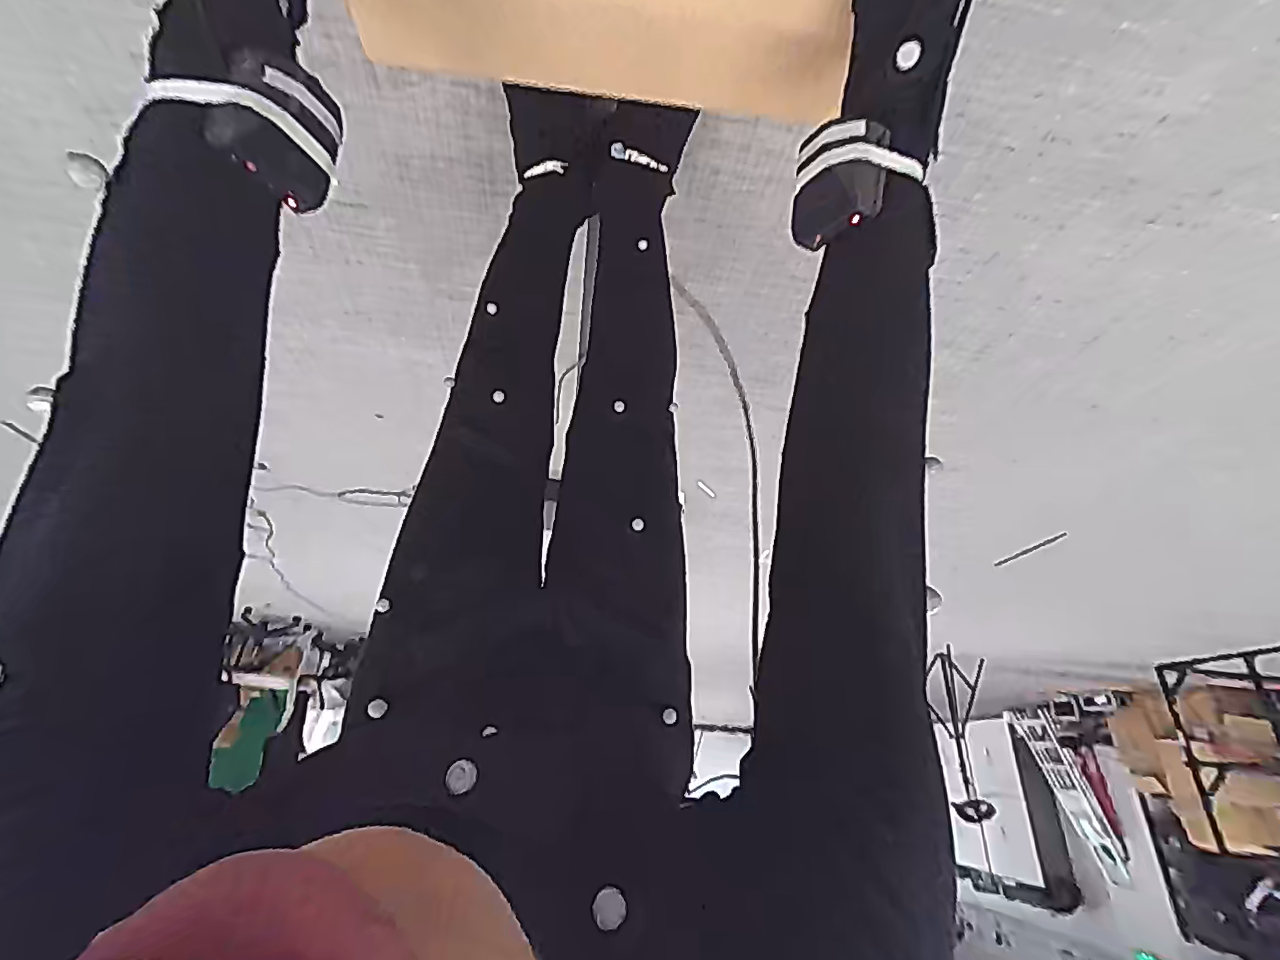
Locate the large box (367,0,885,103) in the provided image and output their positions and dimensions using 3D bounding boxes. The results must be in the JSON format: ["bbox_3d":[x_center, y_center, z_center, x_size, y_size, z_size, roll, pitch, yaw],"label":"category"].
[{"bbox_3d":[0.000,-0.541,0.394,0.408,0.320,0.320,6,154,-1],"label":"large box"}]
